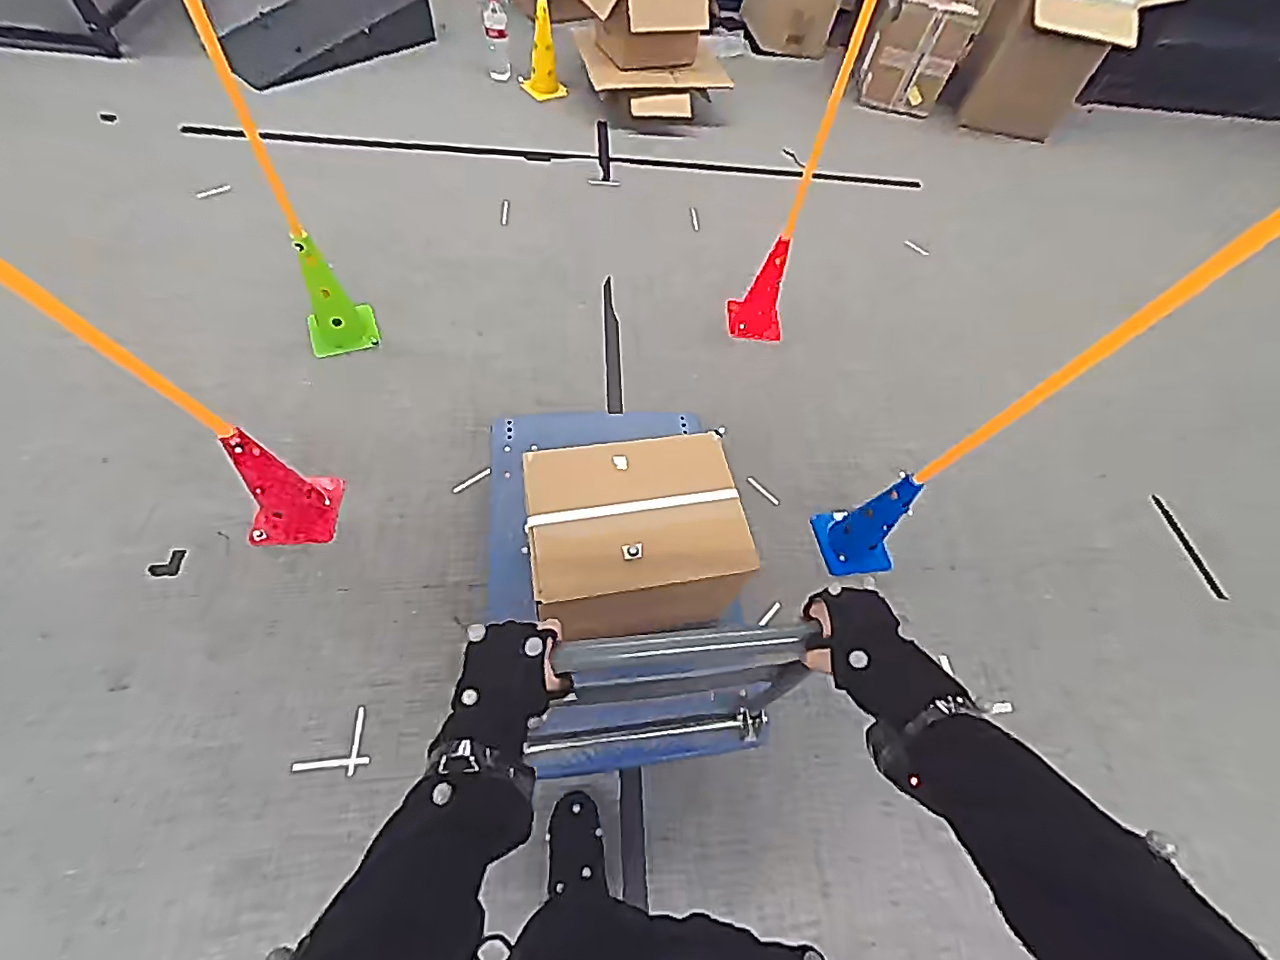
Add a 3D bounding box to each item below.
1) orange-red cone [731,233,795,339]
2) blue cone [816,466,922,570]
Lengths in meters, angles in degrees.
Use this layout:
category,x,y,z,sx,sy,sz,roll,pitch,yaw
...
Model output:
category,x,y,z,sx,sy,sz,roll,pitch,yaw
orange-red cone,0.460,-0.696,1.887,0.199,0.360,0.198,6,59,-5
blue cone,0.648,0.087,1.460,0.193,0.380,0.192,-3,59,-10
